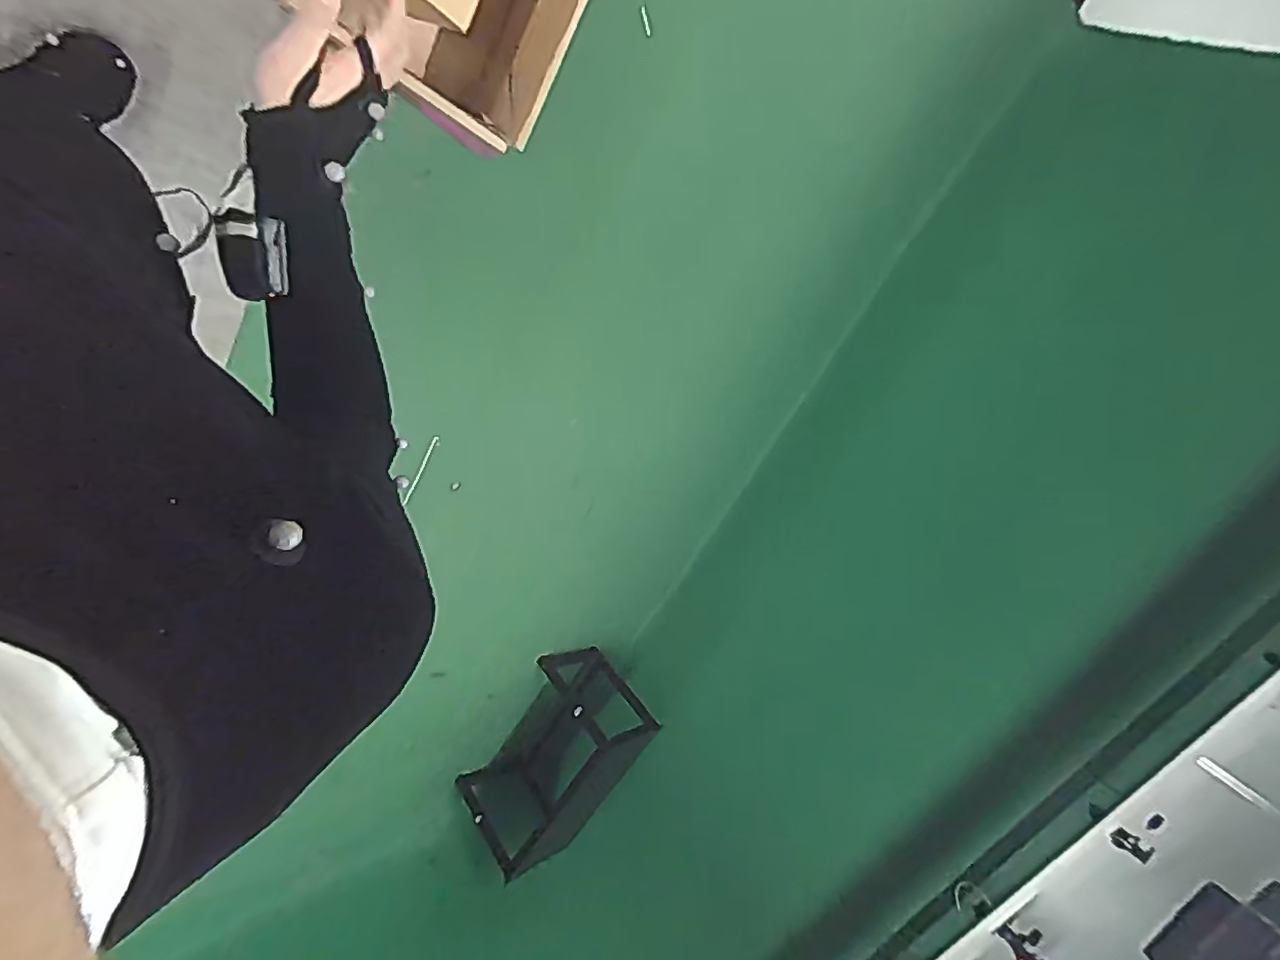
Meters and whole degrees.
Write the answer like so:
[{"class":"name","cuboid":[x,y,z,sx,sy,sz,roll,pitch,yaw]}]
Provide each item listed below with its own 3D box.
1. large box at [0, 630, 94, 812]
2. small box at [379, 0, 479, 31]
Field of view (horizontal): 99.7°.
[{"class":"large box","cuboid":[-1.738,0.665,1.363,0.408,0.320,0.320,-27,144,-32]},{"class":"small box","cuboid":[-0.230,-0.568,0.493,0.168,0.176,0.179,8,118,-51]}]
